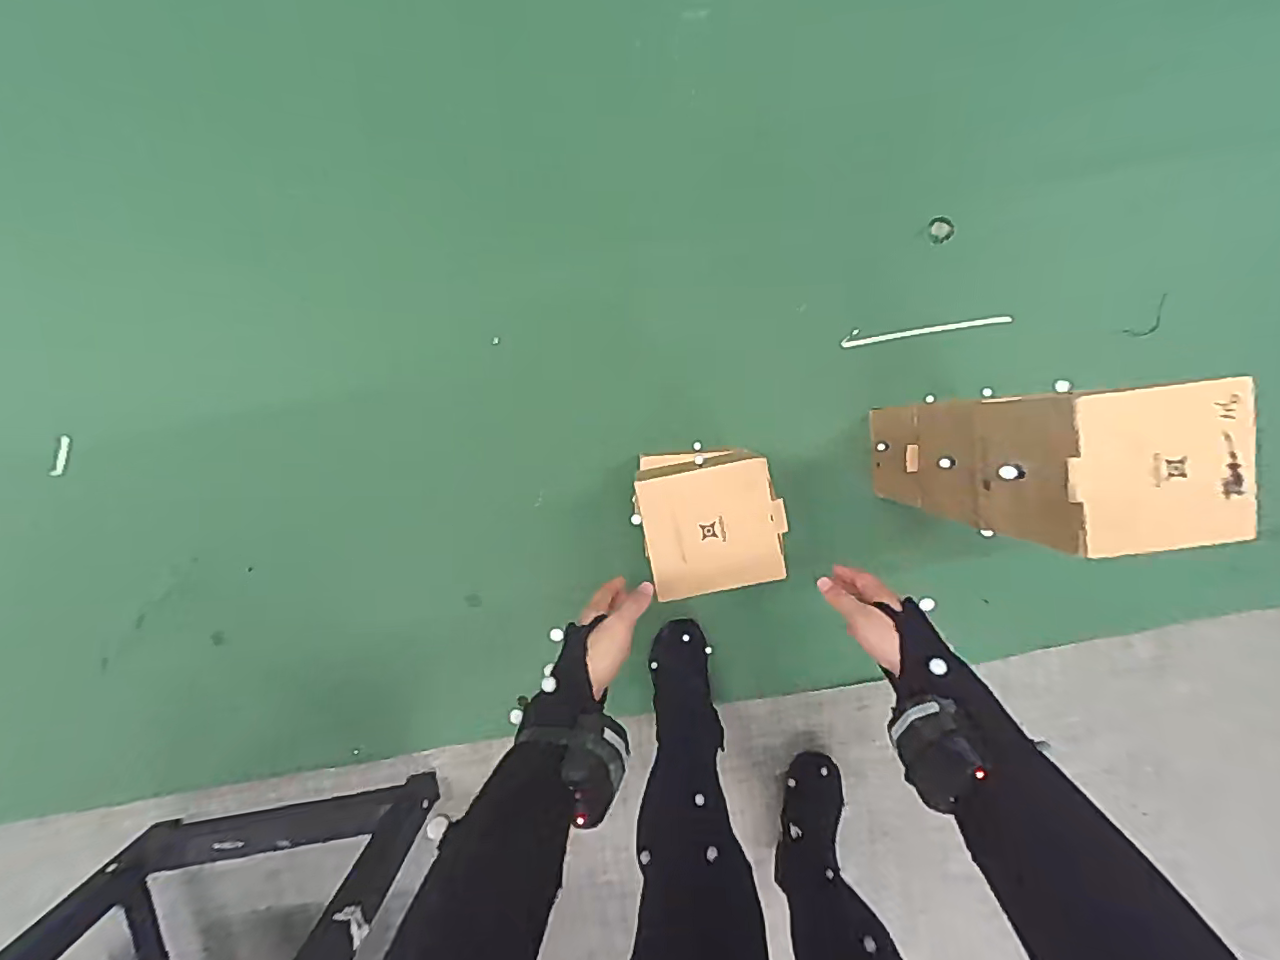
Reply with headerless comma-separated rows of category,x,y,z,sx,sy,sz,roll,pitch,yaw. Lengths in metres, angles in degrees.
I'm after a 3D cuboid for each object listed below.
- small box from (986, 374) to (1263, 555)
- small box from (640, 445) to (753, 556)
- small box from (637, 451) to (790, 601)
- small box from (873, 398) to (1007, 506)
small box,0.520,-0.020,0.609,0.179,0.176,0.168,-7,95,1
small box,0.093,0.028,0.936,0.179,0.176,0.168,-3,96,0
small box,0.095,0.056,0.776,0.179,0.176,0.168,-11,95,1
small box,0.528,-0.055,0.936,0.179,0.176,0.168,-5,97,0
